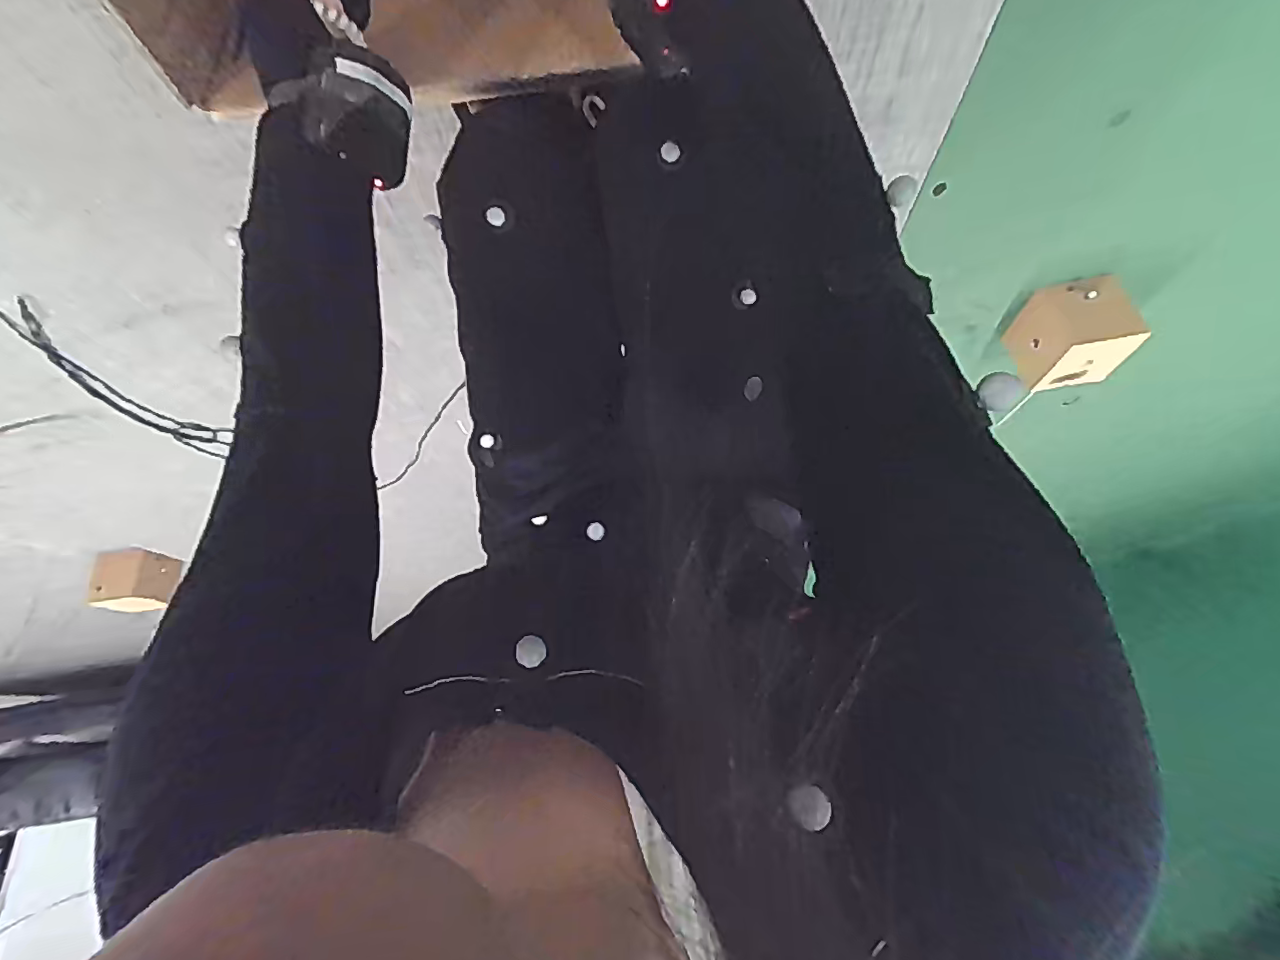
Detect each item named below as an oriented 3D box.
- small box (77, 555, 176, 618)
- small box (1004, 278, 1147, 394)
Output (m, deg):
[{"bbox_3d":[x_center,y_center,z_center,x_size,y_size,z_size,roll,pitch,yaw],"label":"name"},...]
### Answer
[{"bbox_3d":[-1.781,0.373,1.888,0.179,0.176,0.168,-10,156,3],"label":"small box"},{"bbox_3d":[0.971,-0.324,1.229,0.168,0.176,0.179,-10,154,4],"label":"small box"}]
